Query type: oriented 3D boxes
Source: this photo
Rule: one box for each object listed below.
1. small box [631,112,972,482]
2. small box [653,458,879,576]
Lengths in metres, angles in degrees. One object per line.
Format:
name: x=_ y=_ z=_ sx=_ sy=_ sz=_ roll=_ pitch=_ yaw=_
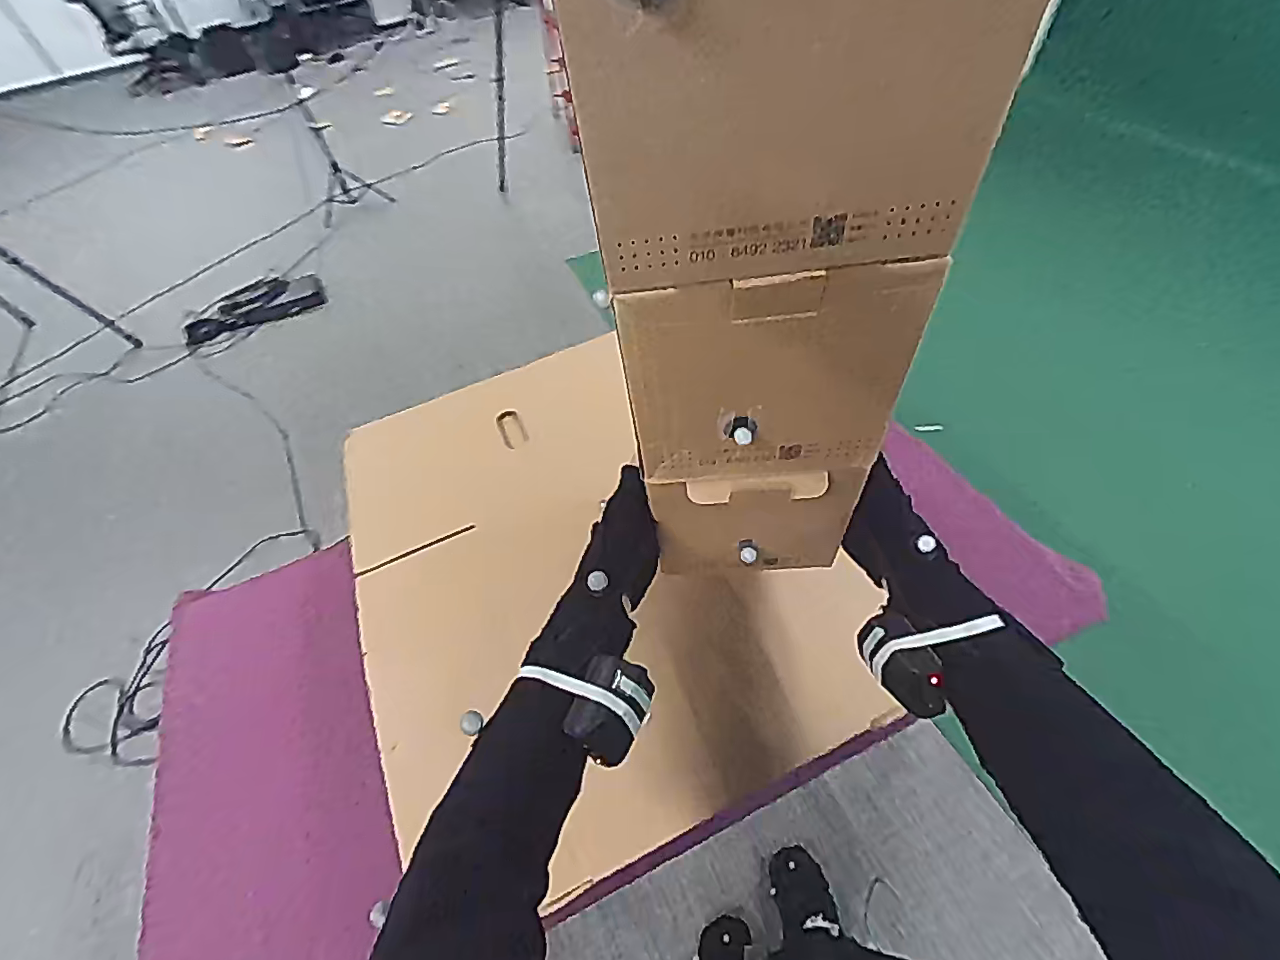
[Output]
small box: x=0.083 y=-0.118 z=0.374 sx=0.168 sy=0.176 sz=0.179 roll=-4 pitch=55 yaw=4
small box: x=0.101 y=-0.026 z=0.506 sx=0.168 sy=0.176 sz=0.179 roll=-3 pitch=55 yaw=6
